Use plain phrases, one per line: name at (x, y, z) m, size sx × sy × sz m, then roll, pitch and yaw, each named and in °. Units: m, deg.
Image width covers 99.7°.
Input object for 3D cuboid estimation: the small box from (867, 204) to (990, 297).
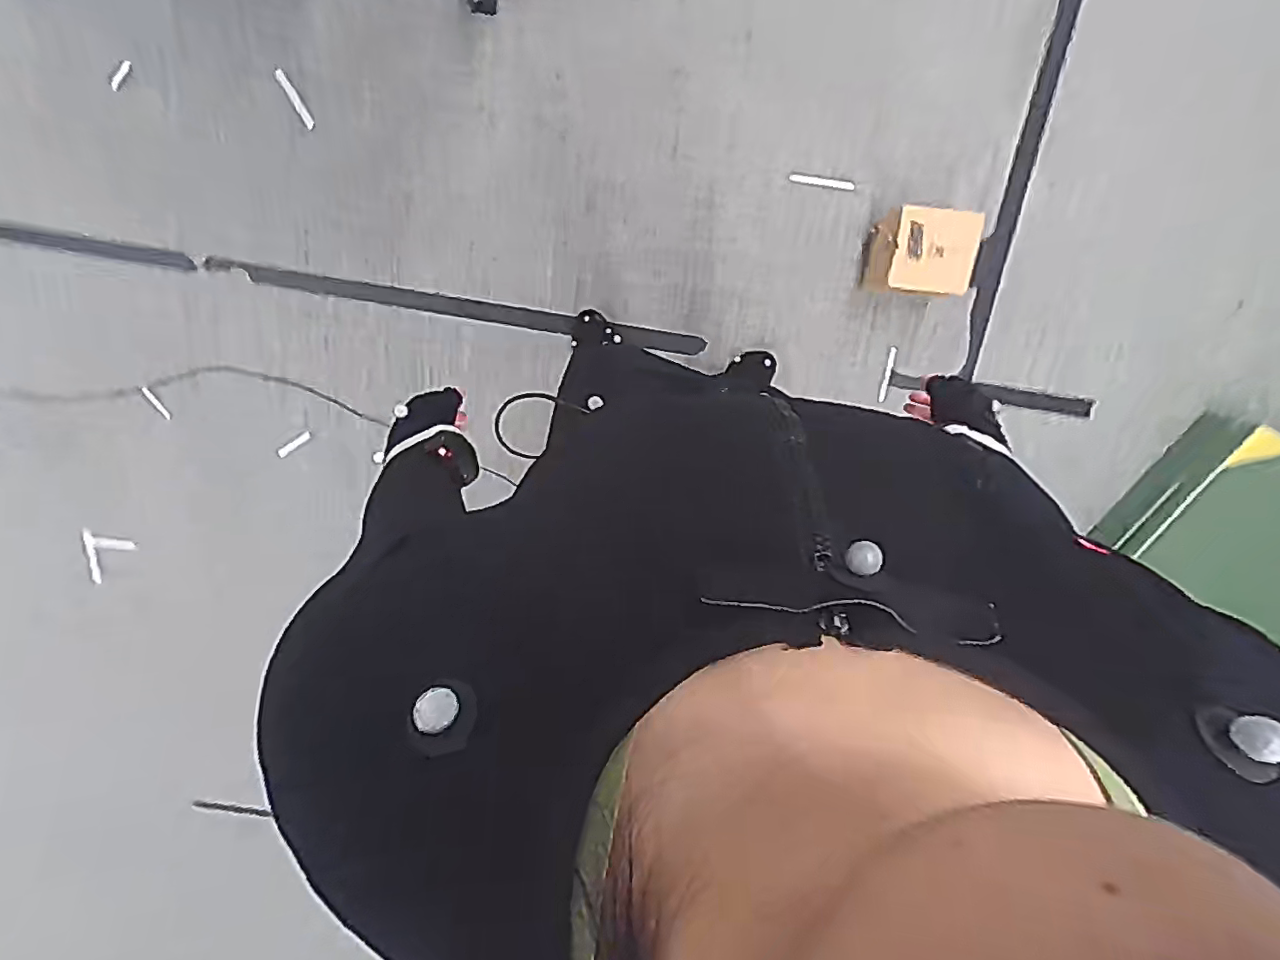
small box at (0.643, -0.513, 1.233) m, size 0.179 × 0.176 × 0.168 m, roll 7°, pitch 107°, yaw 0°
